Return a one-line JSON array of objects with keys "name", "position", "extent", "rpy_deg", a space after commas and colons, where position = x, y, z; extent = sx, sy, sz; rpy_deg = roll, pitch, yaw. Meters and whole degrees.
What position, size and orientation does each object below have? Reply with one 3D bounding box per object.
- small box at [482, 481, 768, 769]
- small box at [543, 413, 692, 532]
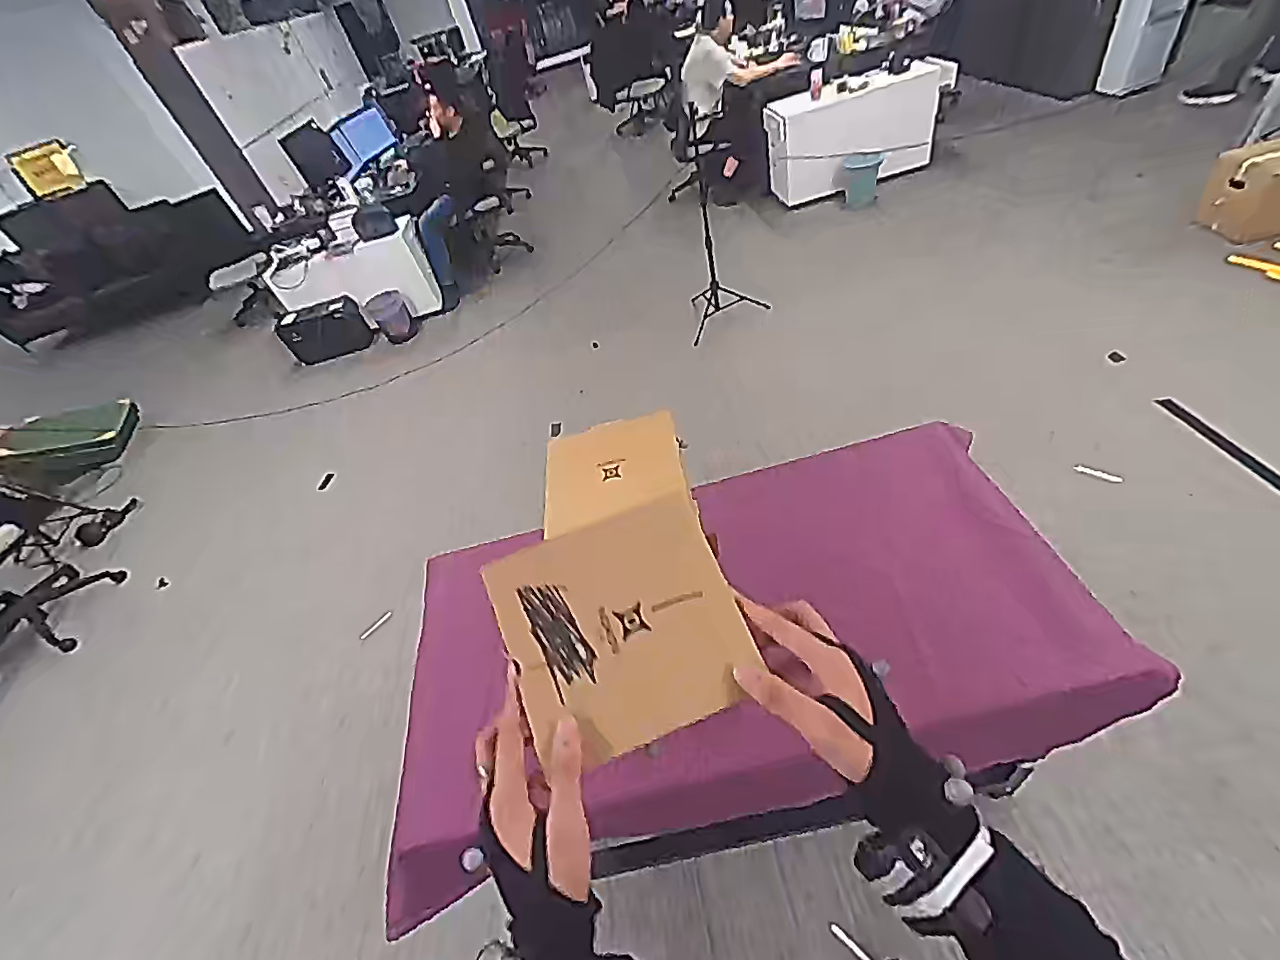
[{"name": "small box", "position": [-0.013, 0.130, 0.478], "extent": [0.179, 0.176, 0.168], "rpy_deg": [-21, 70, -7]}, {"name": "small box", "position": [-0.016, 0.046, 0.697], "extent": [0.168, 0.176, 0.179], "rpy_deg": [-14, 43, 6]}]
